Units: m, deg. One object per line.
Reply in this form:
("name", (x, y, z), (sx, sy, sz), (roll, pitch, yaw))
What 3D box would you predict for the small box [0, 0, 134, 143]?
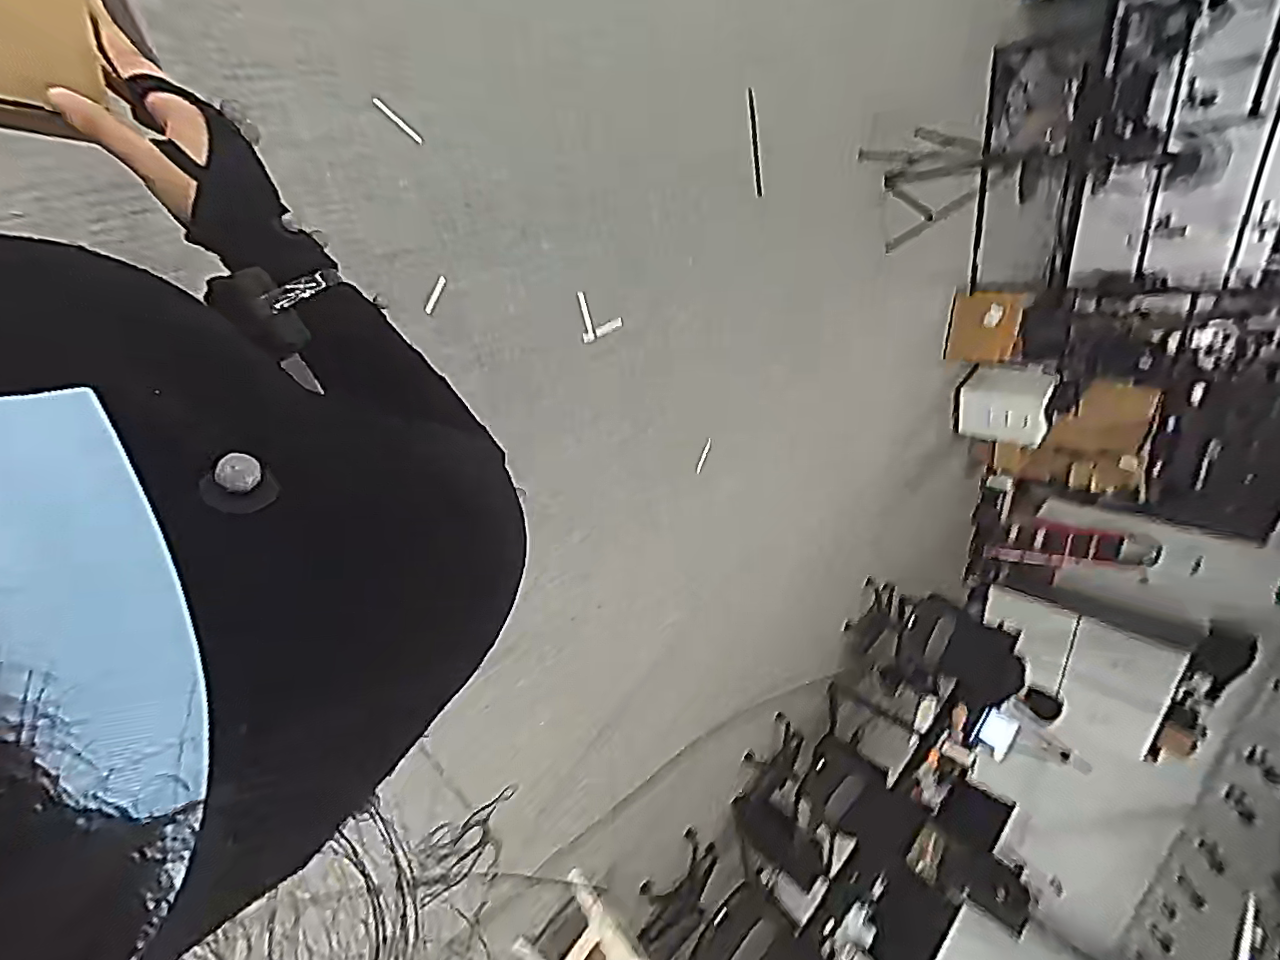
("small box", (-0.435, -0.327, 0.324), (0.168, 0.176, 0.179), (-12, 117, -43))
